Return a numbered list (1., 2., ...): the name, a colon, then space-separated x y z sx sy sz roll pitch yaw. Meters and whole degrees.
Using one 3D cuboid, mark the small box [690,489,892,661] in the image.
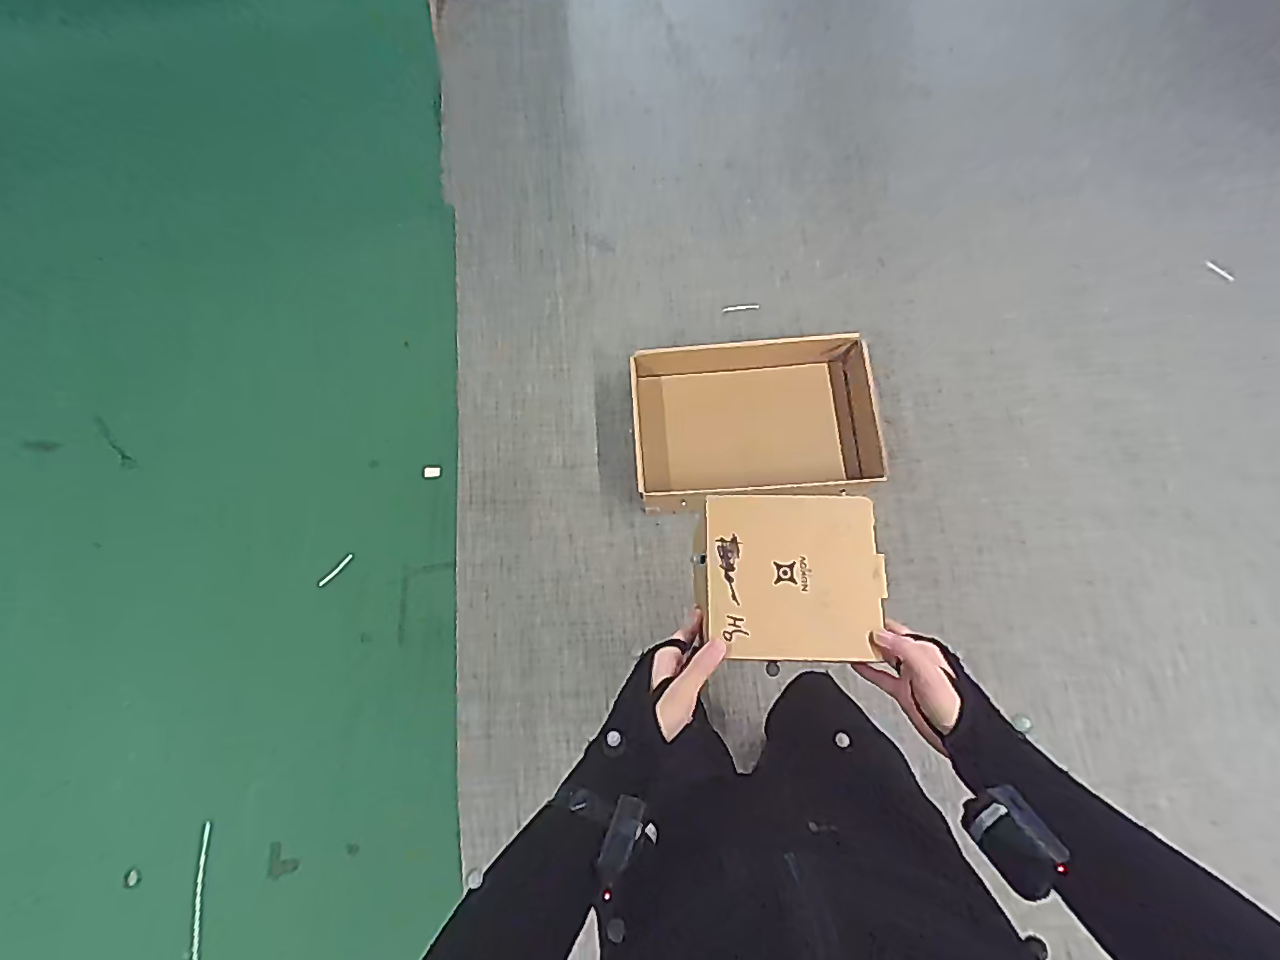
1. small box: 0.153 0.115 0.611 0.179 0.176 0.168 1 70 0
